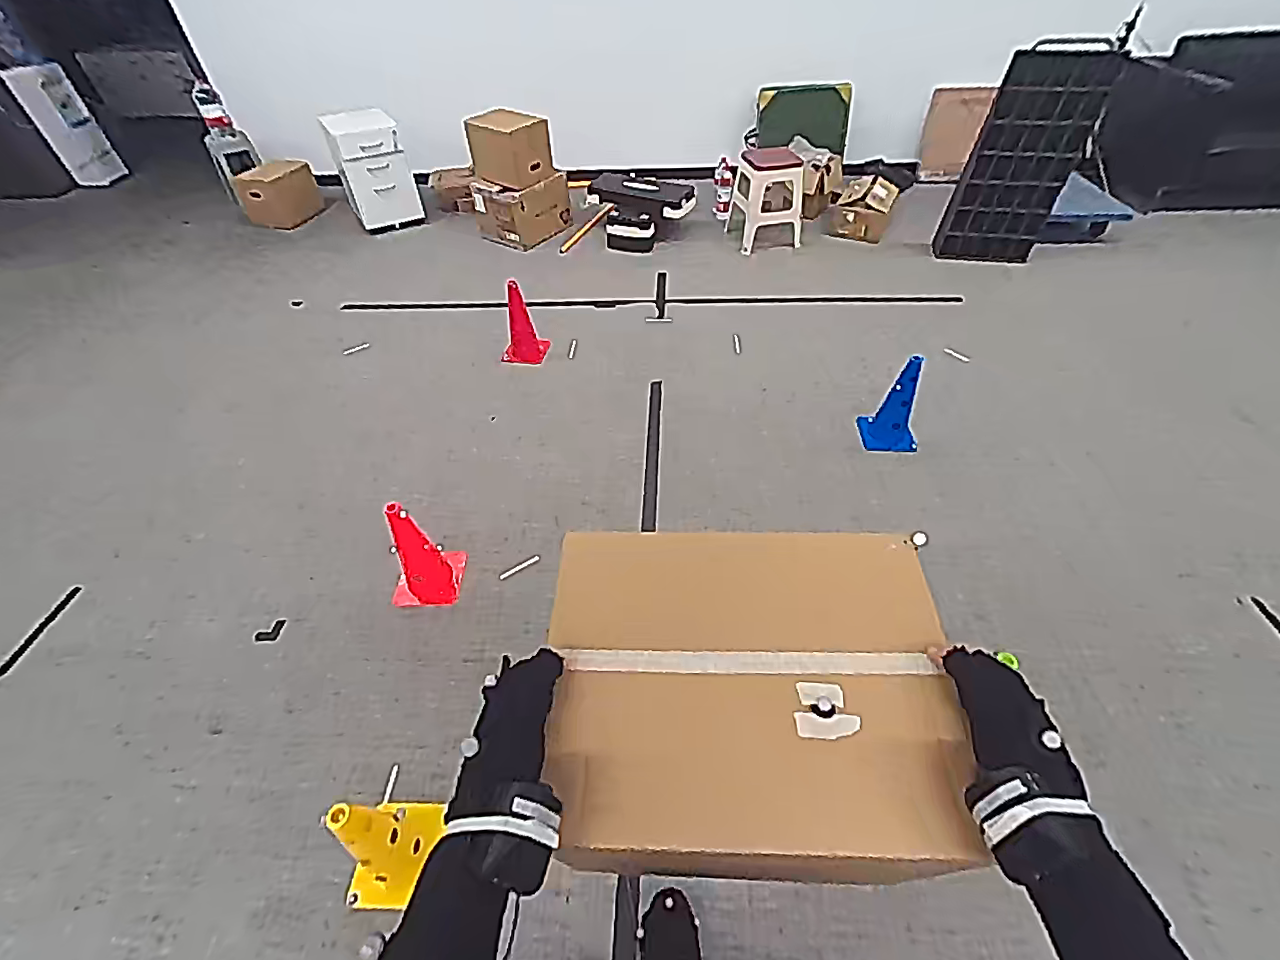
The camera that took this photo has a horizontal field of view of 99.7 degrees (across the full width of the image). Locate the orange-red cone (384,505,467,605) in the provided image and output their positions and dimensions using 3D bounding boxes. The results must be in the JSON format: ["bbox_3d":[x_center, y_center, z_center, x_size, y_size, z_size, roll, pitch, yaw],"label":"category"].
[{"bbox_3d":[-0.678,0.201,1.620,0.198,0.360,0.199,-2,48,2],"label":"orange-red cone"}]

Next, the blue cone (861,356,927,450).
[{"bbox_3d":[0.987,-0.301,2.041,0.192,0.380,0.193,3,47,4],"label":"blue cone"}]

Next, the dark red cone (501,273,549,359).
[{"bbox_3d":[-0.556,-0.758,2.490,0.201,0.394,0.202,5,47,6],"label":"dark red cone"}]

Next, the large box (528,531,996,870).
[{"bbox_3d":[0.107,0.275,0.663,0.408,0.320,0.320,0,51,3],"label":"large box"}]
